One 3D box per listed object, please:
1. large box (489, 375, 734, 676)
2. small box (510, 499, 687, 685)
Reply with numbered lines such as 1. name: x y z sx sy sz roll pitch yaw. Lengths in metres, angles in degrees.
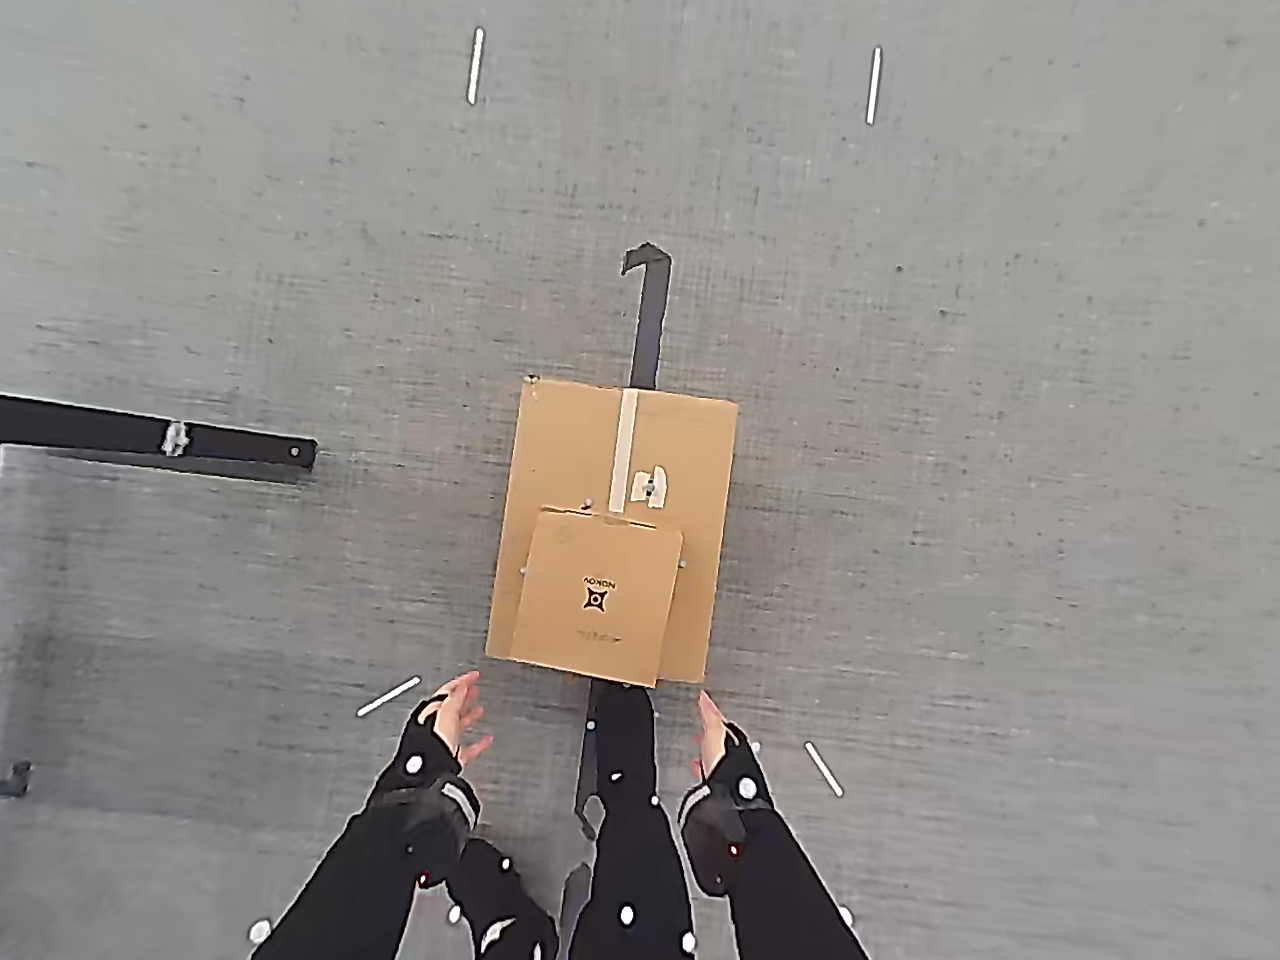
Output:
1. large box: -0.038 0.071 0.913 0.320 0.320 0.408 8 88 0
2. small box: -0.044 0.124 0.666 0.168 0.176 0.179 12 89 2
